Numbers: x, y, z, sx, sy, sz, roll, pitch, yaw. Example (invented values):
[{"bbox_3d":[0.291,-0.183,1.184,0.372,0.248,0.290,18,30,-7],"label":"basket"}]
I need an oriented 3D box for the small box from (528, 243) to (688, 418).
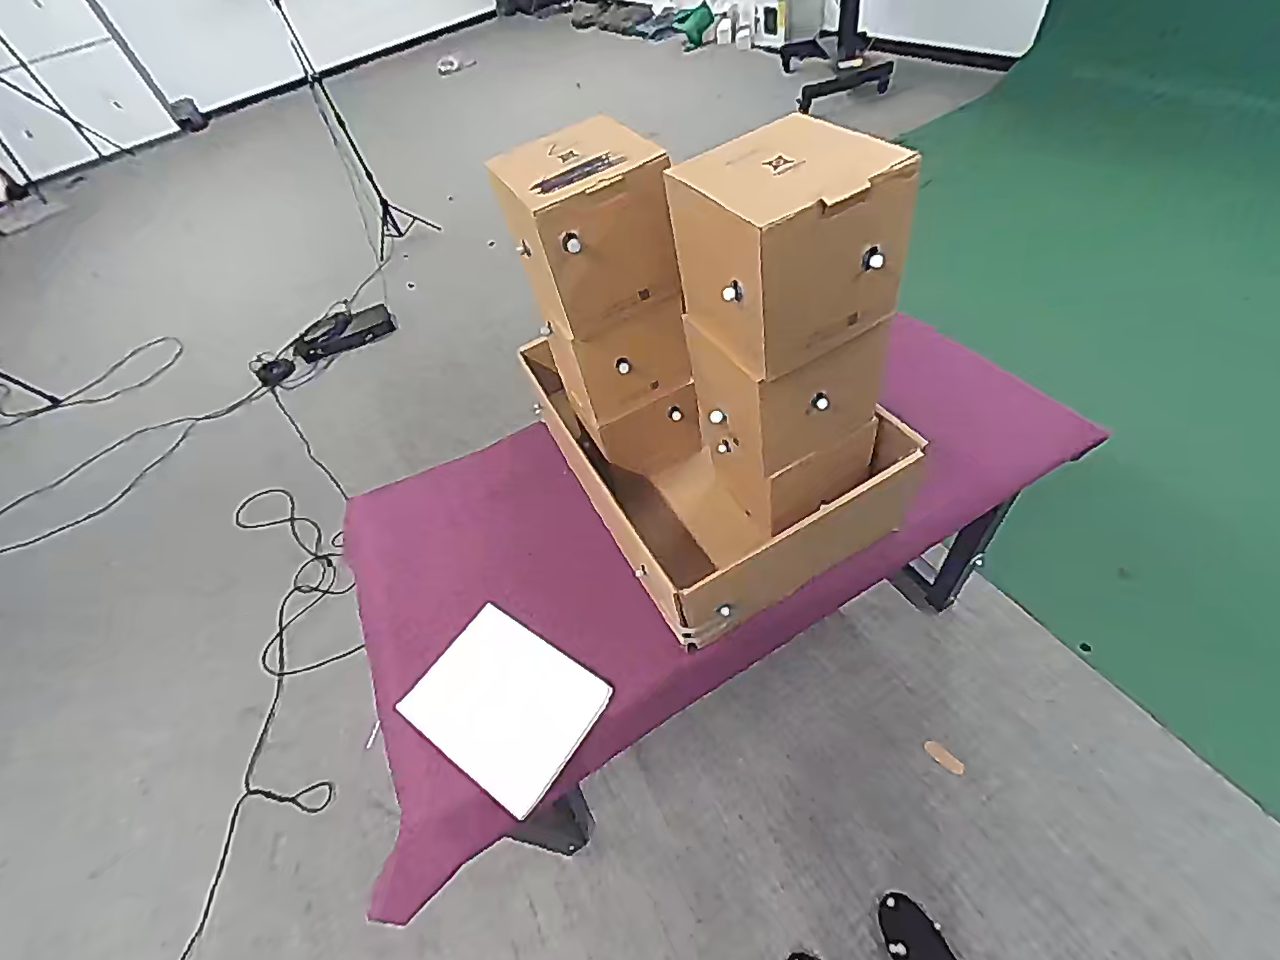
[{"bbox_3d":[-0.042,-0.217,0.814,0.168,0.176,0.179,-27,52,-9],"label":"small box"}]

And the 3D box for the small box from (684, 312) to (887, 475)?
[{"bbox_3d":[0.178,-0.140,0.690,0.179,0.176,0.168,-28,49,-7],"label":"small box"}]

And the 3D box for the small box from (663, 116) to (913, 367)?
[{"bbox_3d":[0.147,-0.242,0.567,0.168,0.176,0.179,-27,49,-8],"label":"small box"}]
